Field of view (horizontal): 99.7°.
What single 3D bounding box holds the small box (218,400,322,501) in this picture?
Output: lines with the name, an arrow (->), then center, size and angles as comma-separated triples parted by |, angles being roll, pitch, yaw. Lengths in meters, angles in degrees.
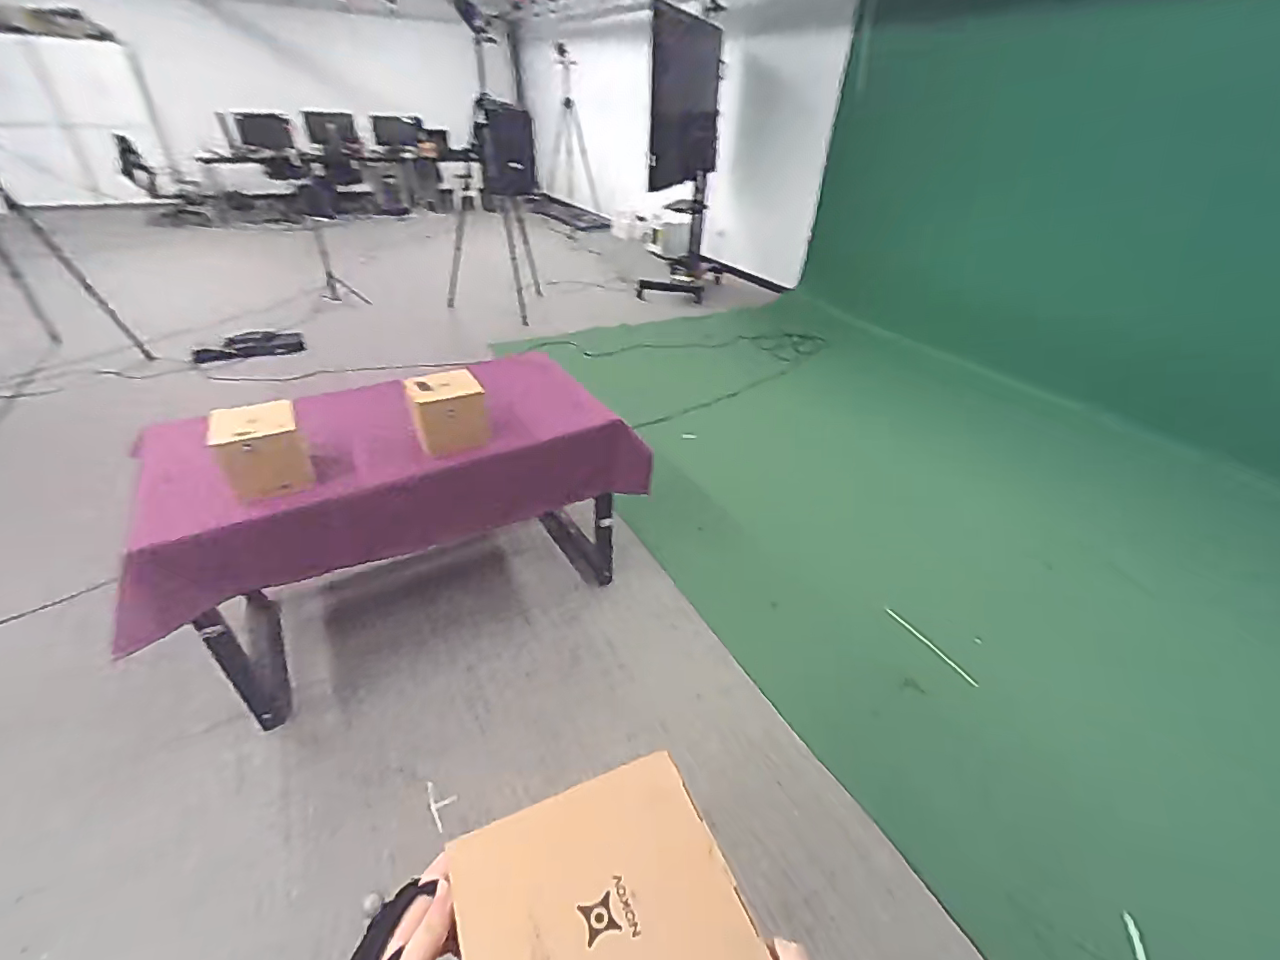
small box -> -0.897, -0.074, 1.323 | 0.168, 0.176, 0.179 | -17, 39, -25

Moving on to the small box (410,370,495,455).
small box -> -0.520, -0.188, 1.509 | 0.179, 0.176, 0.168 | -17, 40, -26
